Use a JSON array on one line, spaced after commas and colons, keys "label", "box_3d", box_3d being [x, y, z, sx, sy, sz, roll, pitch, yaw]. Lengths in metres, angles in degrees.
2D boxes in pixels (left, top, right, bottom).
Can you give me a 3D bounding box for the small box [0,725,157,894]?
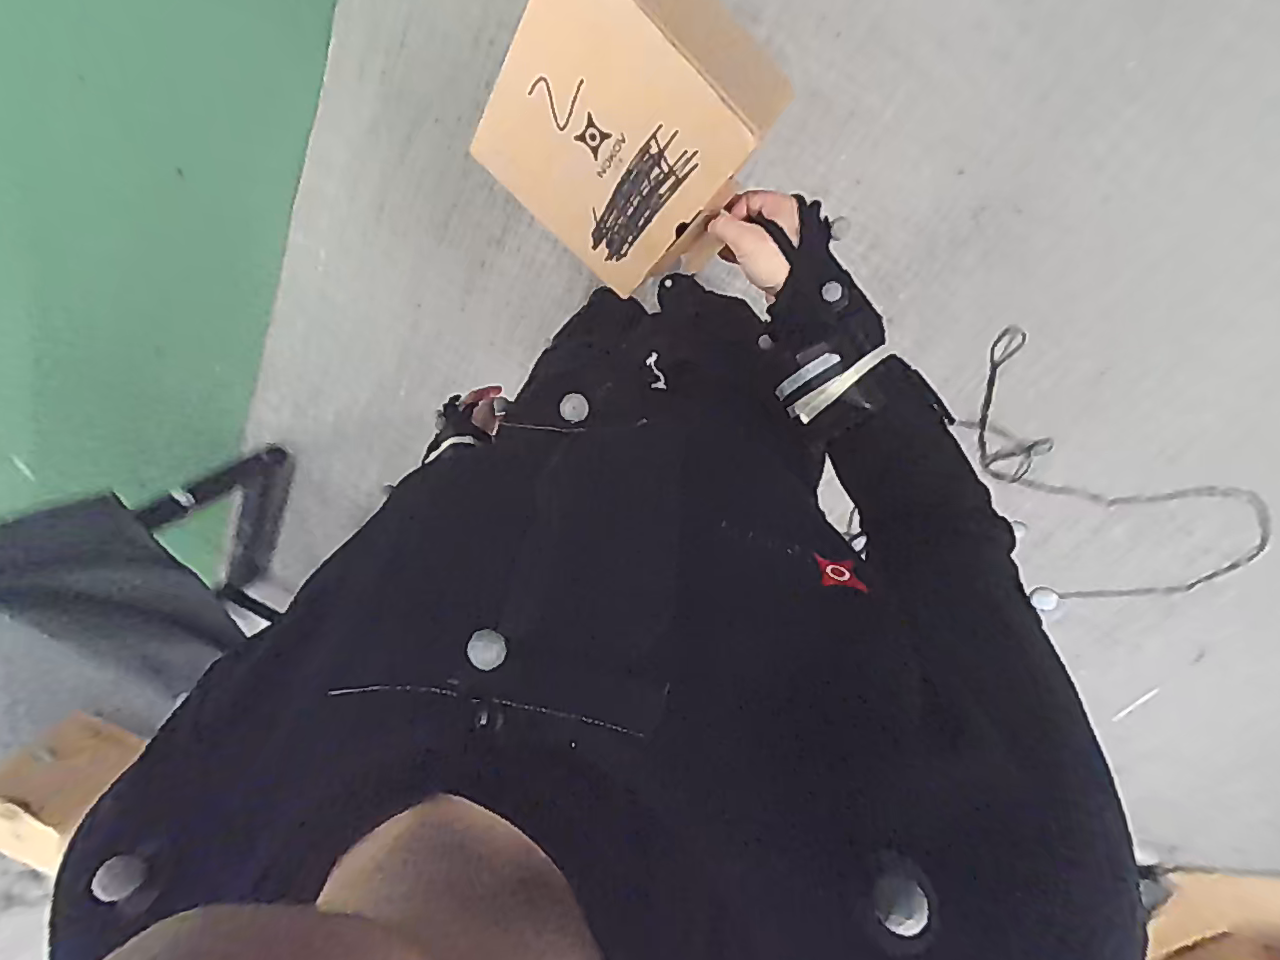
[{"label": "small box", "box_3d": [-1.008, 0.574, 0.957, 0.168, 0.176, 0.179, 27, 117, -2]}]
